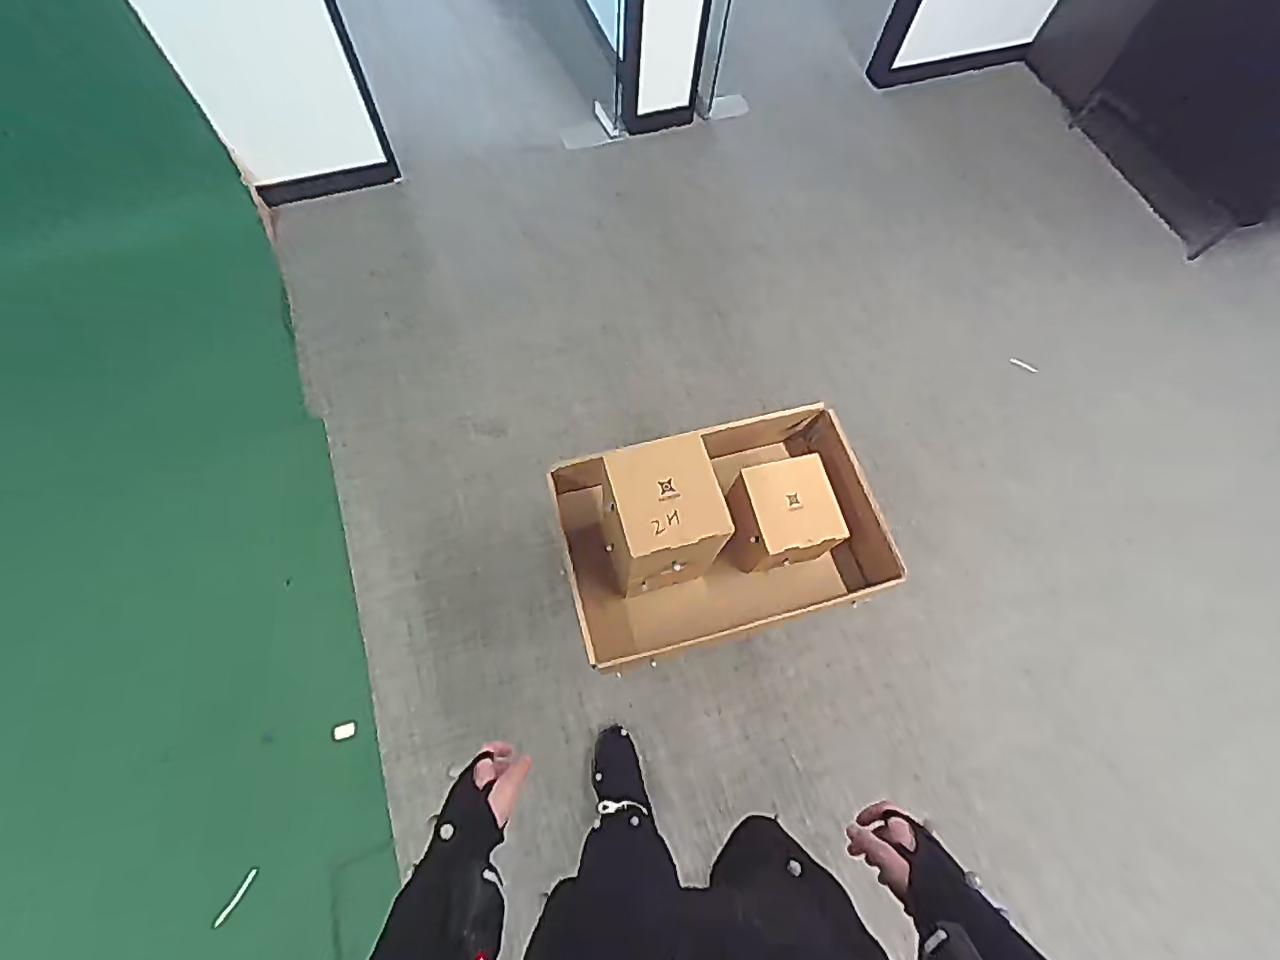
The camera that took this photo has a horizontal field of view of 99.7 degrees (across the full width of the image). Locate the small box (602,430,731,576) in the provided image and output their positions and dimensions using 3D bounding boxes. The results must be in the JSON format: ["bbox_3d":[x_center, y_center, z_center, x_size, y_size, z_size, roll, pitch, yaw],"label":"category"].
[{"bbox_3d":[0.033,0.043,0.901,0.168,0.176,0.179,-13,69,-9],"label":"small box"}]
